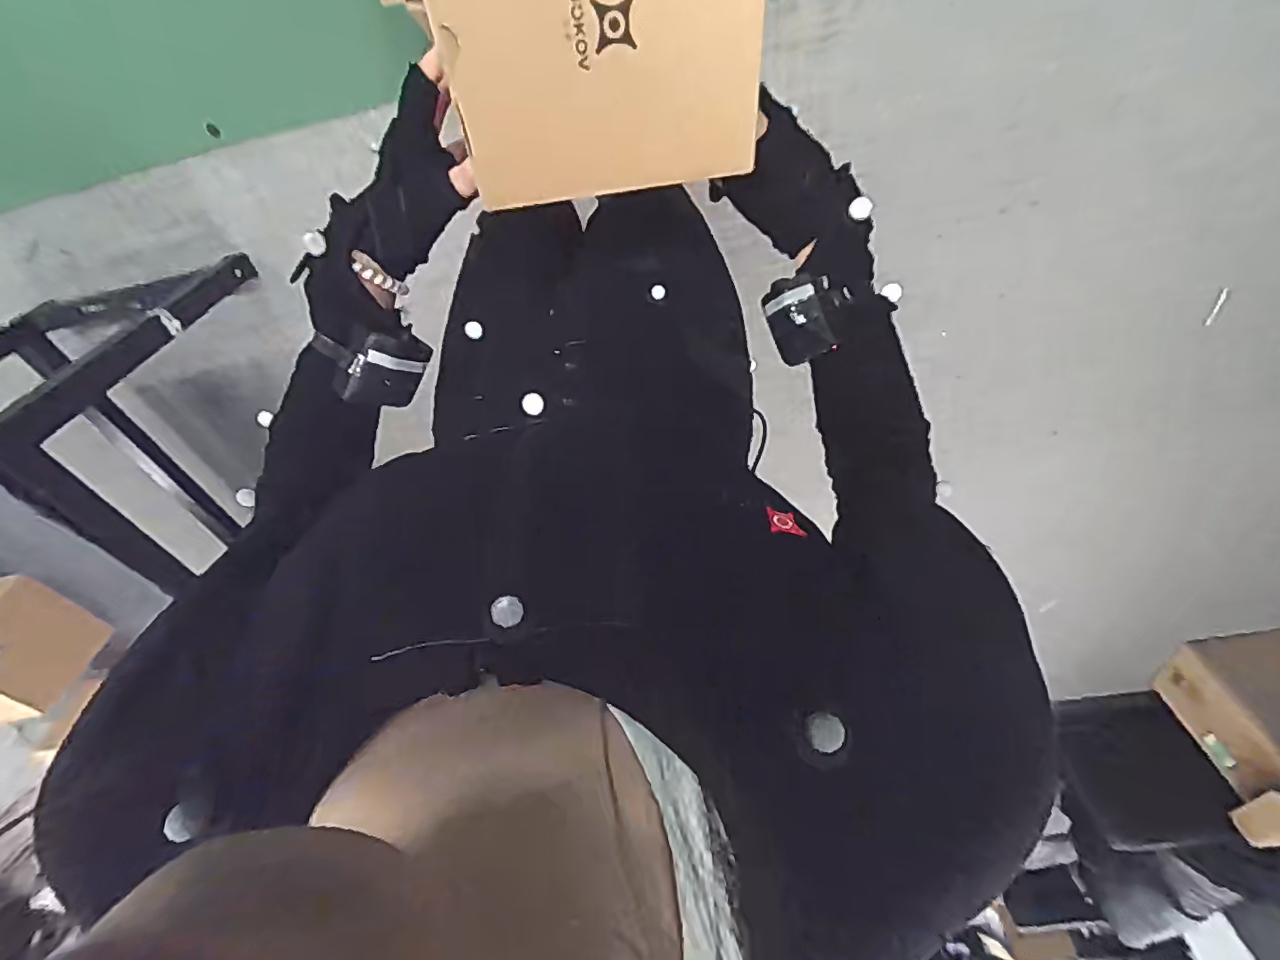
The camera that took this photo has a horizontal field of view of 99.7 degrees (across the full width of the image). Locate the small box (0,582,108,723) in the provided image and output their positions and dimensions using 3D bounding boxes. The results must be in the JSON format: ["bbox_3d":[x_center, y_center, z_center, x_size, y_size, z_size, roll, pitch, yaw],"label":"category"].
[{"bbox_3d":[-1.075,0.285,0.897,0.168,0.176,0.179,-11,132,8],"label":"small box"}]

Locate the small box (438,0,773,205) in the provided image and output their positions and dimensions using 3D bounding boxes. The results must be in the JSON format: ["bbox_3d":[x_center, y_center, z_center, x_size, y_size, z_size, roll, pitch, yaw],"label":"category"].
[{"bbox_3d":[-0.028,-0.298,0.334,0.179,0.176,0.168,-11,137,-4],"label":"small box"}]
